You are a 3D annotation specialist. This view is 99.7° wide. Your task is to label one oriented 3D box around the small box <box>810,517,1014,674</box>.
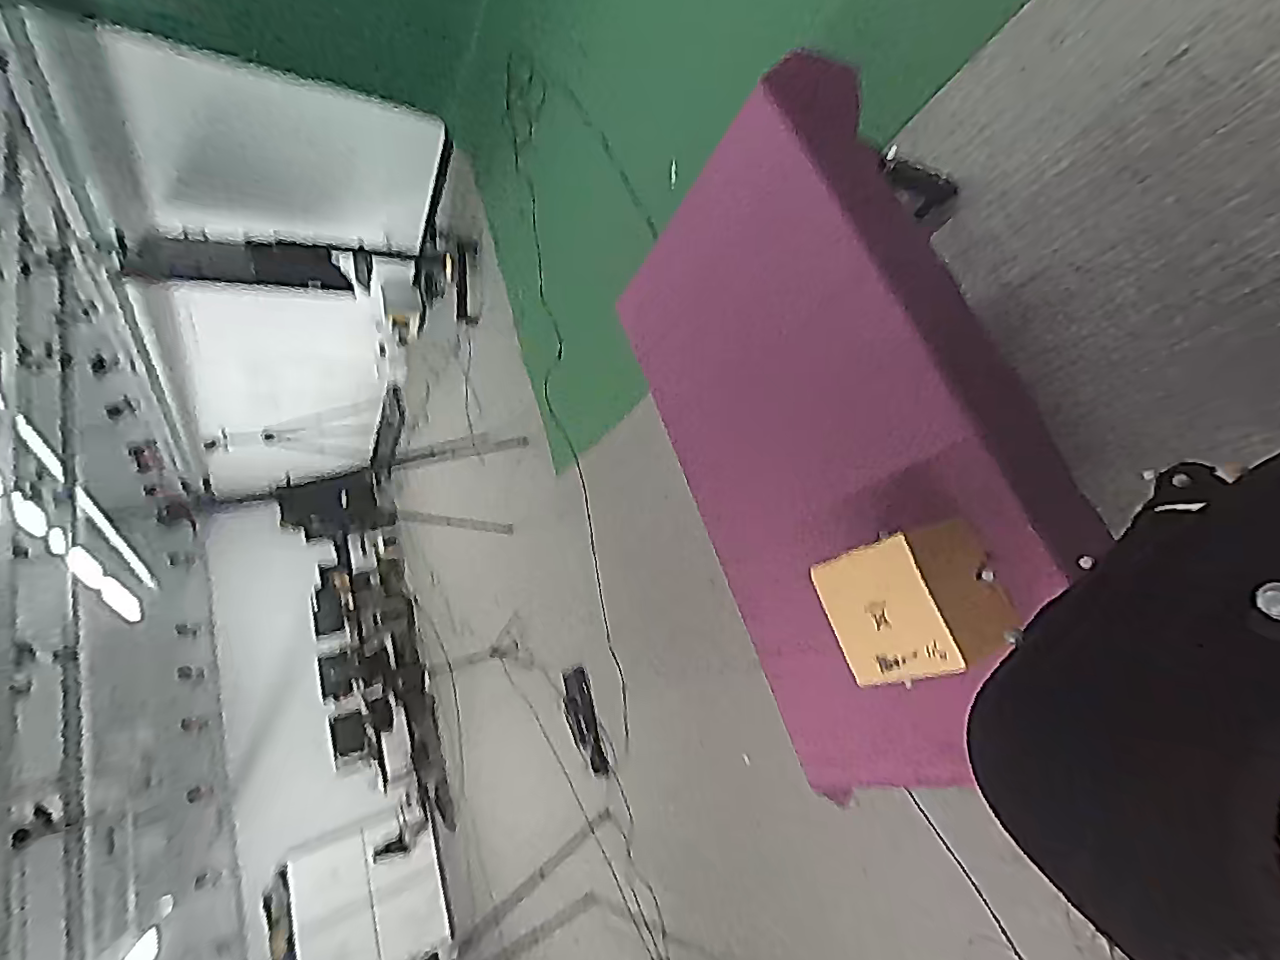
[{"bbox_3d":[0.387,0.160,0.780,0.168,0.176,0.179,-41,62,51],"label":"small box"}]
